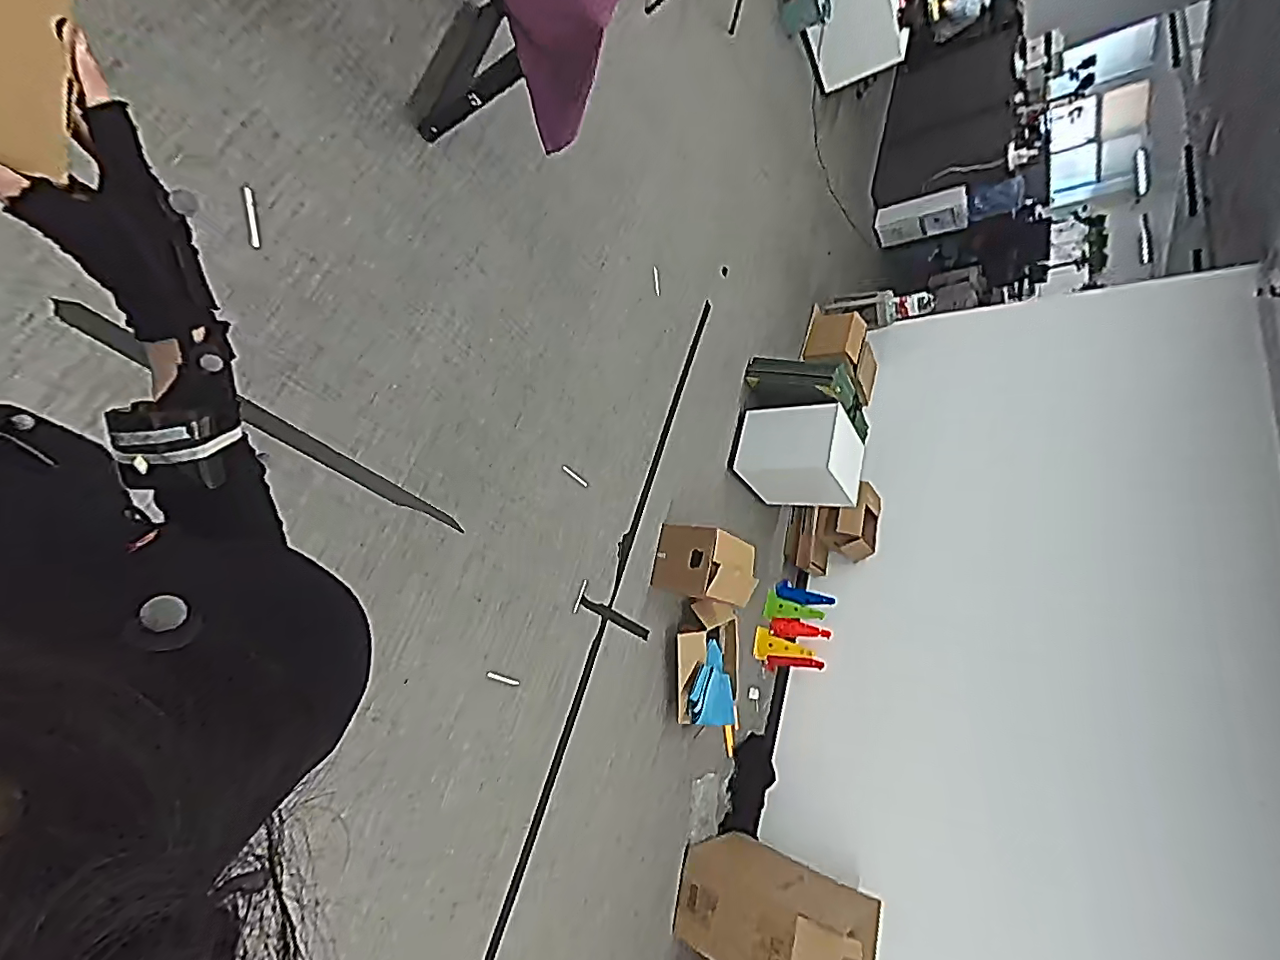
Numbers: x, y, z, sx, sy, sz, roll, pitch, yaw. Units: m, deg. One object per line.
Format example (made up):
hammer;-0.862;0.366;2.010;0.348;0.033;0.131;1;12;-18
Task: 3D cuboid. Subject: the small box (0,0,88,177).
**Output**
small box;-0.423;-0.276;0.268;0.179;0.176;0.168;-7;114;-59
